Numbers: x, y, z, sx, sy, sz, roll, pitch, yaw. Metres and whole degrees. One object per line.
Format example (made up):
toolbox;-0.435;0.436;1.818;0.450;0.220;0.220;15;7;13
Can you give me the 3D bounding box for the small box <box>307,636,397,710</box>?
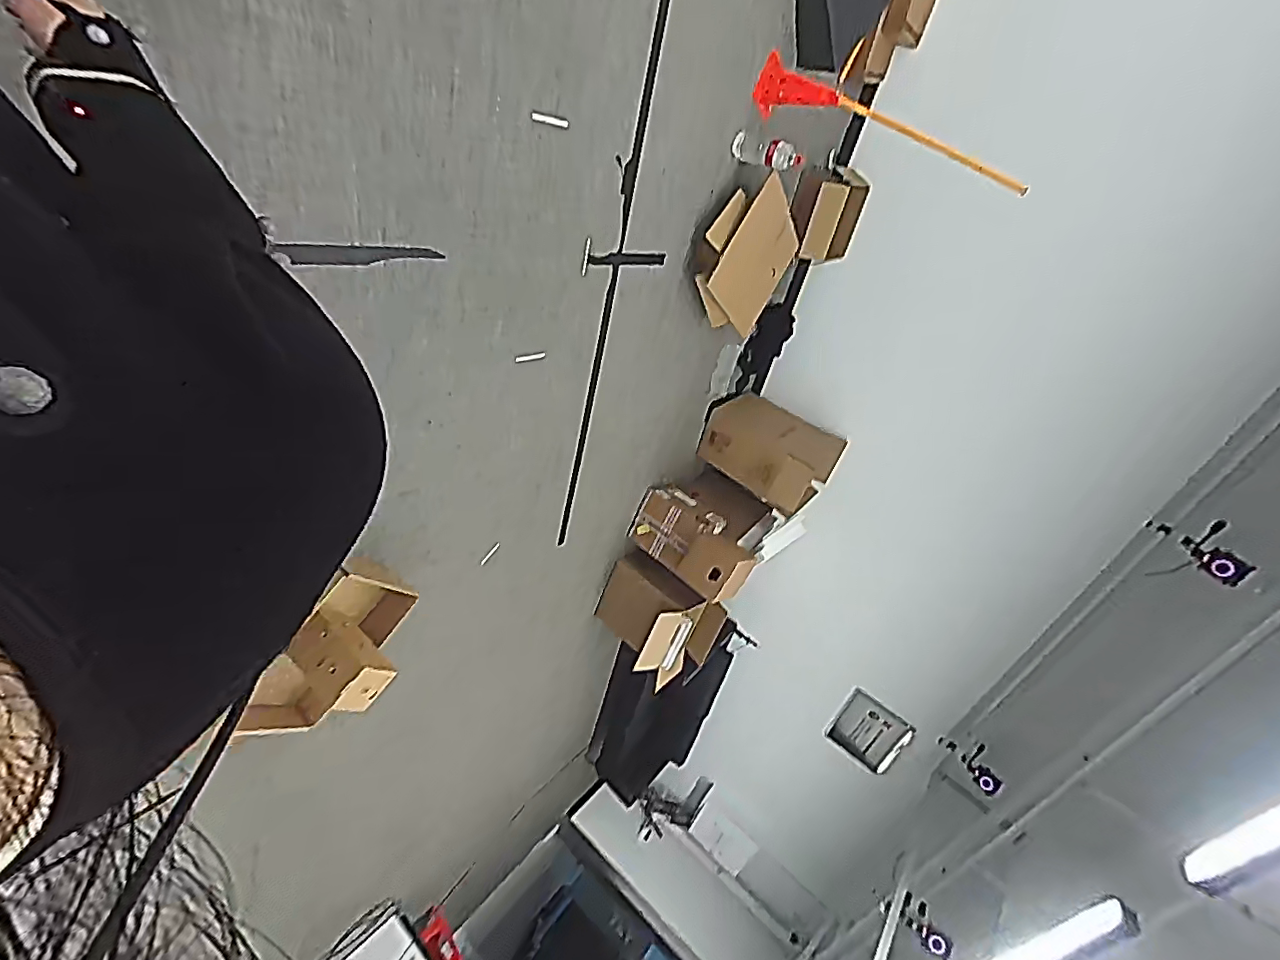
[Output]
small box;-0.982;0.654;1.840;0.168;0.176;0.179;-50;154;-12
